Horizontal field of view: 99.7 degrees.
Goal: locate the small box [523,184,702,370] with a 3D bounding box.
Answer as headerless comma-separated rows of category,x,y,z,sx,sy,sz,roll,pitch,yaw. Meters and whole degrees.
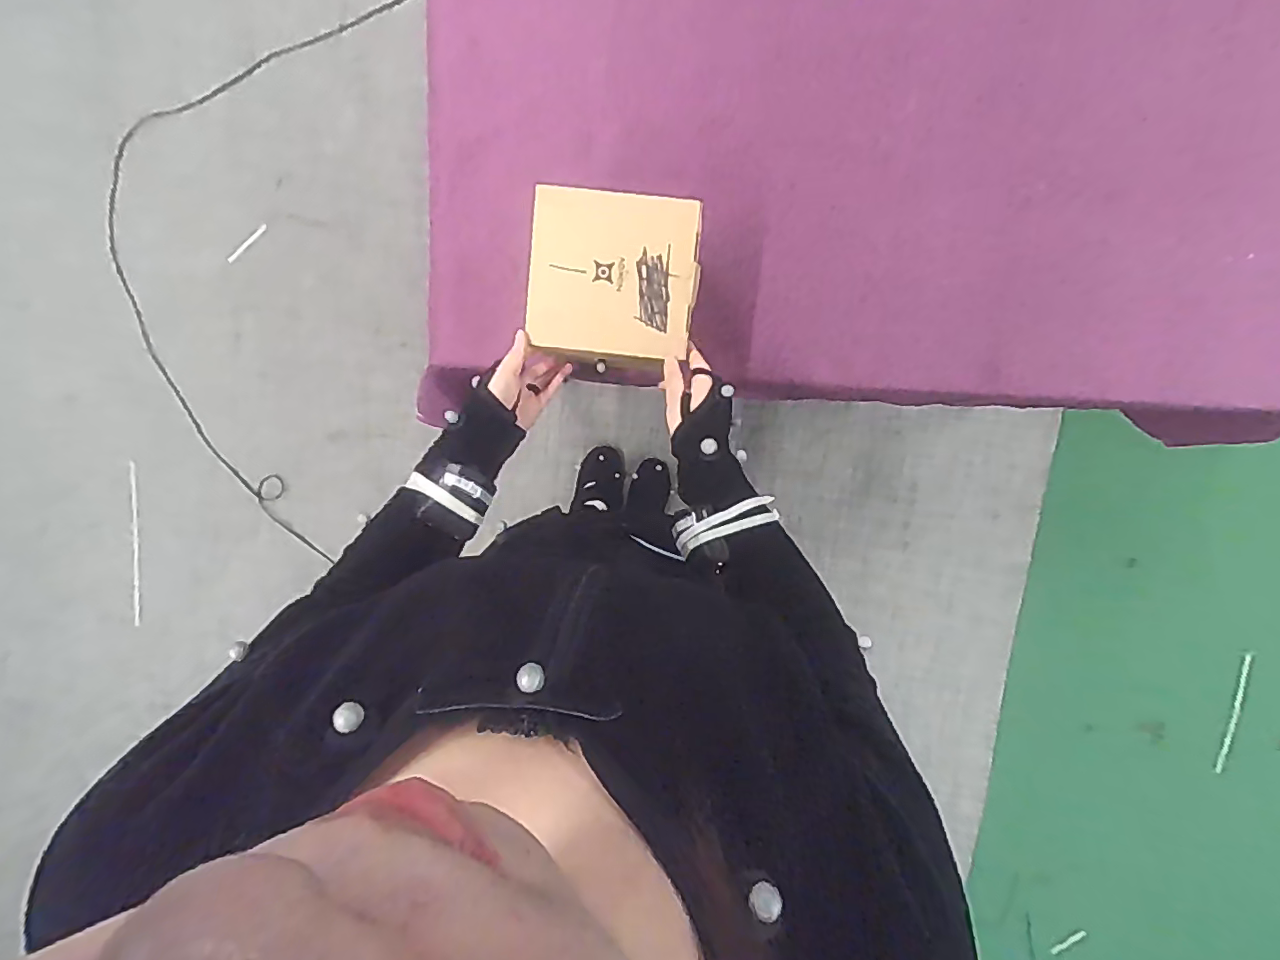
small box,-0.029,-0.227,0.650,0.179,0.176,0.168,7,97,1
